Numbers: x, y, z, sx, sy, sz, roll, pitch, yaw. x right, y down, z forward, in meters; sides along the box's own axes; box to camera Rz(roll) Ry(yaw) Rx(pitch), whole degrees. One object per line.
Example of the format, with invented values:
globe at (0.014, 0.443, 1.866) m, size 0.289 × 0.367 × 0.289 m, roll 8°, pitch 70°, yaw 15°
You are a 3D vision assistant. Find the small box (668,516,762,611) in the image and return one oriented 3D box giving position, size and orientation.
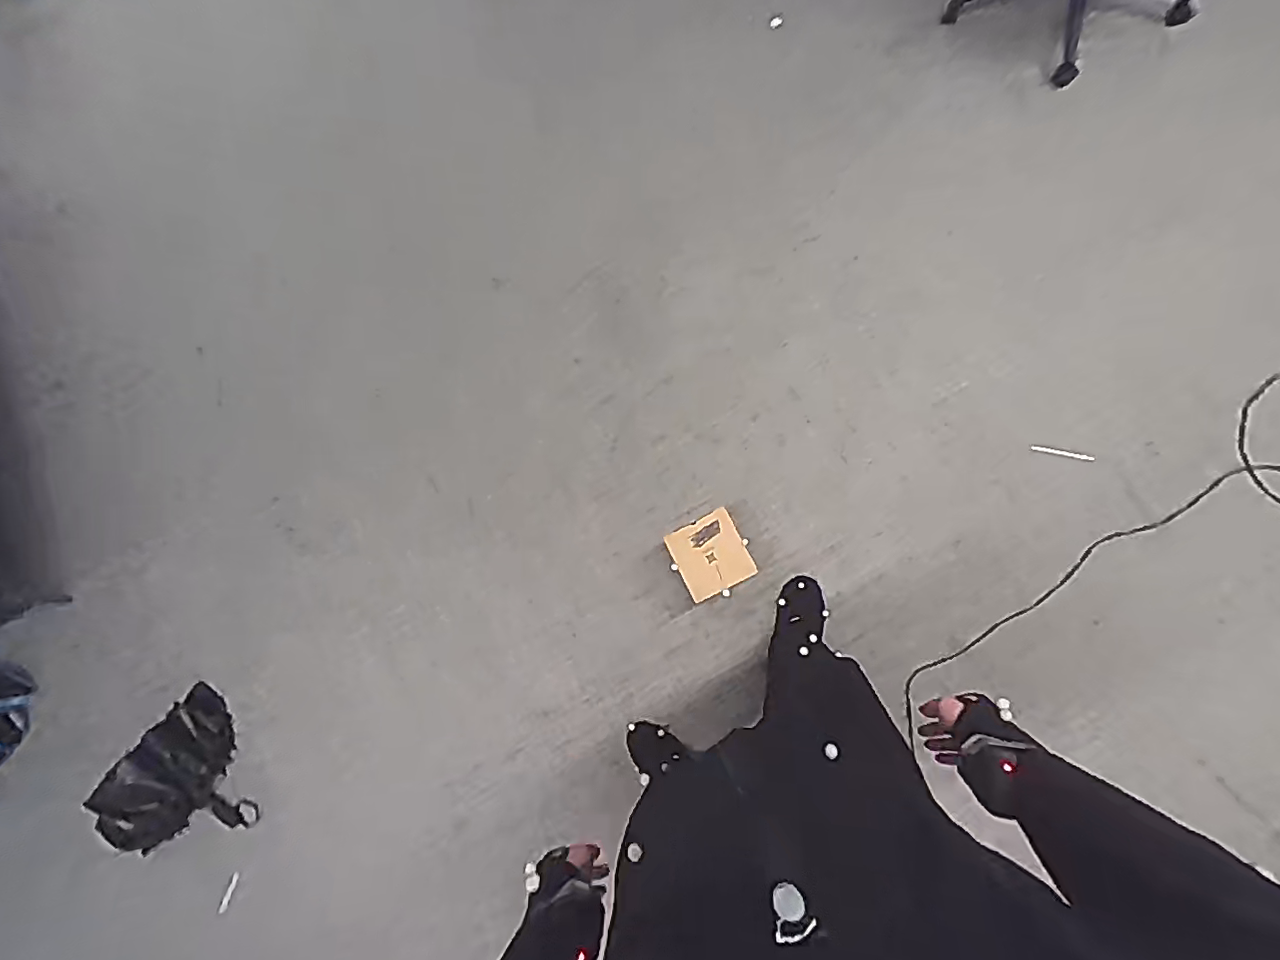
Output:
small box at (0.186, 0.211, 1.345) m, size 0.168 × 0.176 × 0.179 m, roll -28°, pitch 77°, yaw 3°
